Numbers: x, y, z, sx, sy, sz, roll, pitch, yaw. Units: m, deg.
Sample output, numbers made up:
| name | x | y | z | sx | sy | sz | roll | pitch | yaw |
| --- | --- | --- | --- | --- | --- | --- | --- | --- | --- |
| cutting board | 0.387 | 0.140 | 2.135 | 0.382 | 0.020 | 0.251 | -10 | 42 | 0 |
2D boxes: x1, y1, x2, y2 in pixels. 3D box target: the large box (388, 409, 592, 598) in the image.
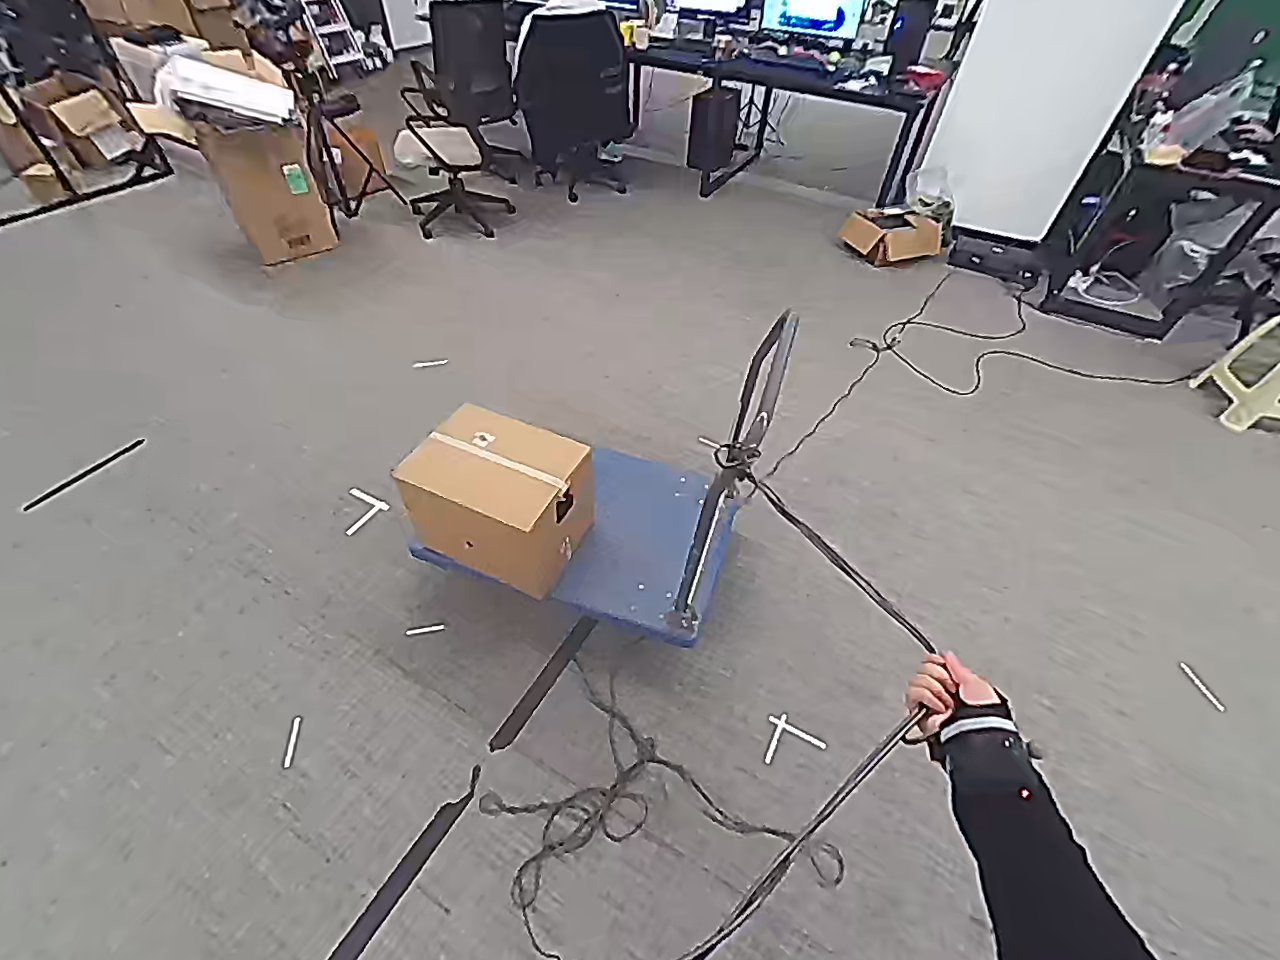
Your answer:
| name | x | y | z | sx | sy | sz | roll | pitch | yaw |
| --- | --- | --- | --- | --- | --- | --- | --- | --- | --- |
| large box | -0.379 | 0.062 | 1.475 | 0.408 | 0.320 | 0.320 | 19 | 49 | 15 |
